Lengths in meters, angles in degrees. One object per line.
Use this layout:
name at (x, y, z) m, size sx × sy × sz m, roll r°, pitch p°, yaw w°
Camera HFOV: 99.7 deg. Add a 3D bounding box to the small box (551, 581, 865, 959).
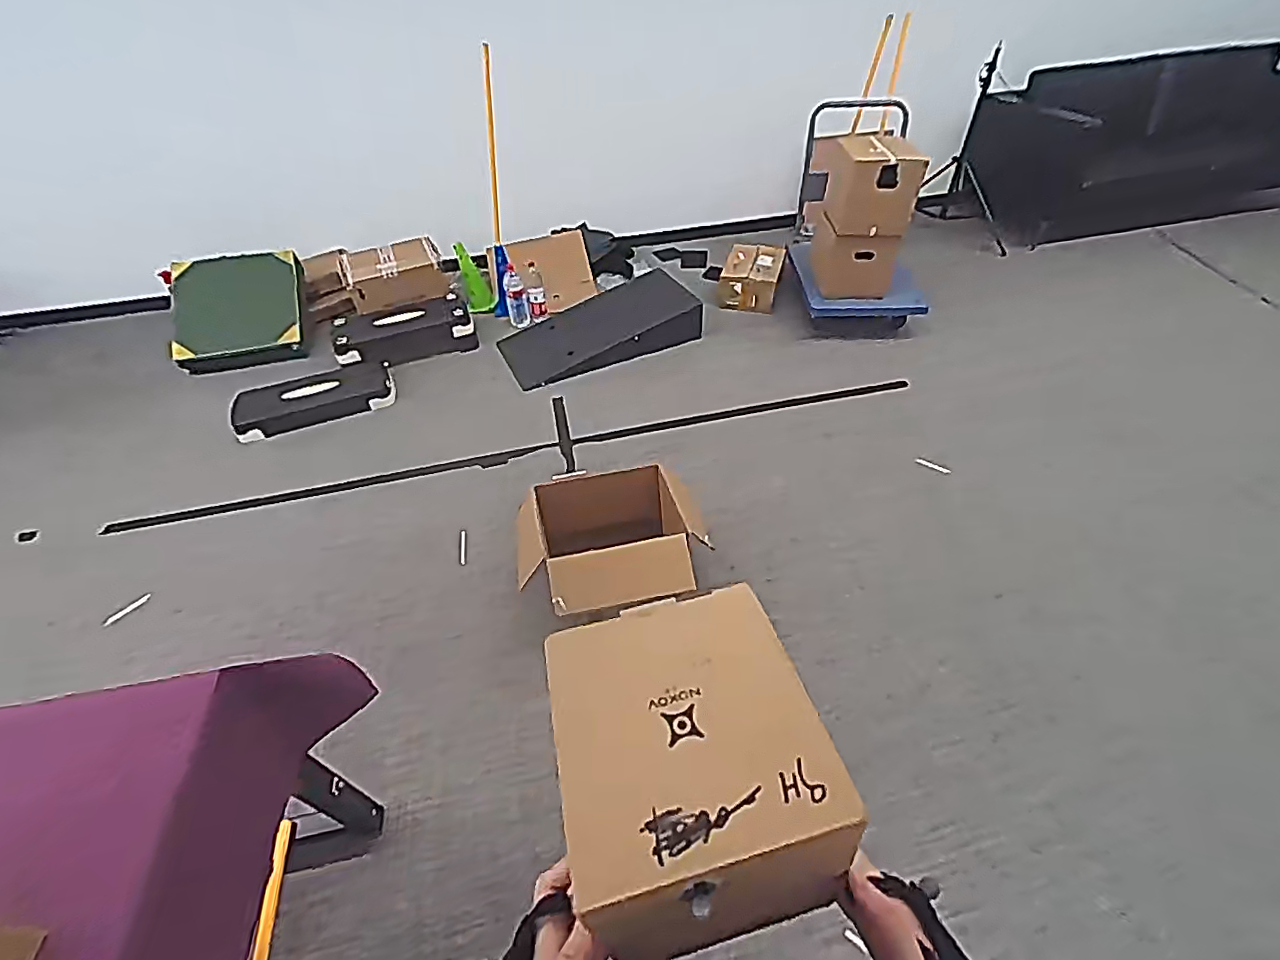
small box at (0.037, 0.209, 0.402) m, size 0.168 × 0.176 × 0.179 m, roll -14°, pitch 39°, yaw -5°
